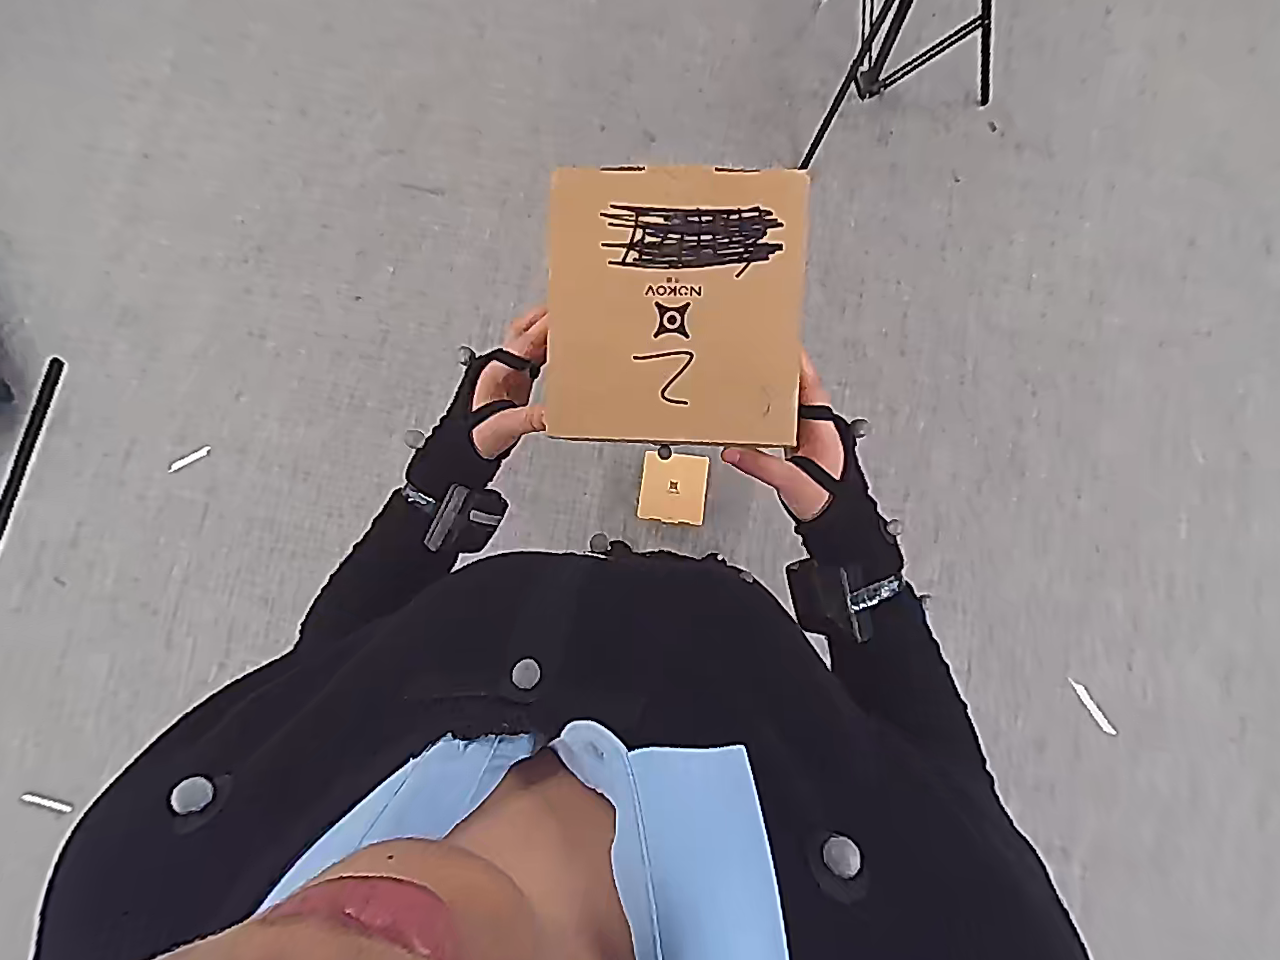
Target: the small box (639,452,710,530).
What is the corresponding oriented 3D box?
[{"bbox_3d":[0.091,0.034,1.438,0.168,0.176,0.179,6,83,4],"label":"small box"}]
